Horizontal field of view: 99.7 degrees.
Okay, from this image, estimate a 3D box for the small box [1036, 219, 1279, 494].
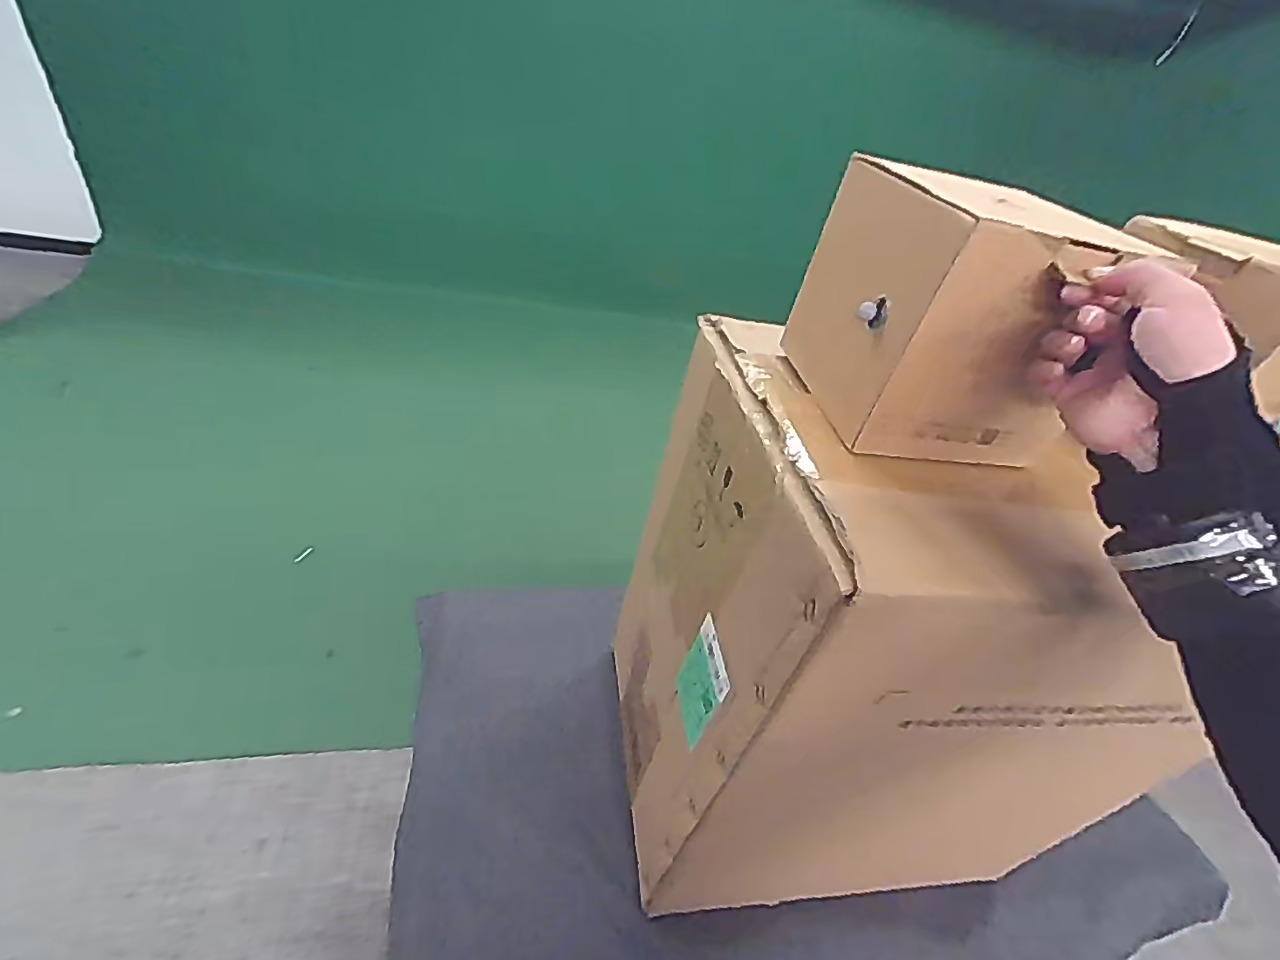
[{"bbox_3d":[0.494,-0.103,0.467,0.179,0.176,0.168,4,42,-11],"label":"small box"}]
